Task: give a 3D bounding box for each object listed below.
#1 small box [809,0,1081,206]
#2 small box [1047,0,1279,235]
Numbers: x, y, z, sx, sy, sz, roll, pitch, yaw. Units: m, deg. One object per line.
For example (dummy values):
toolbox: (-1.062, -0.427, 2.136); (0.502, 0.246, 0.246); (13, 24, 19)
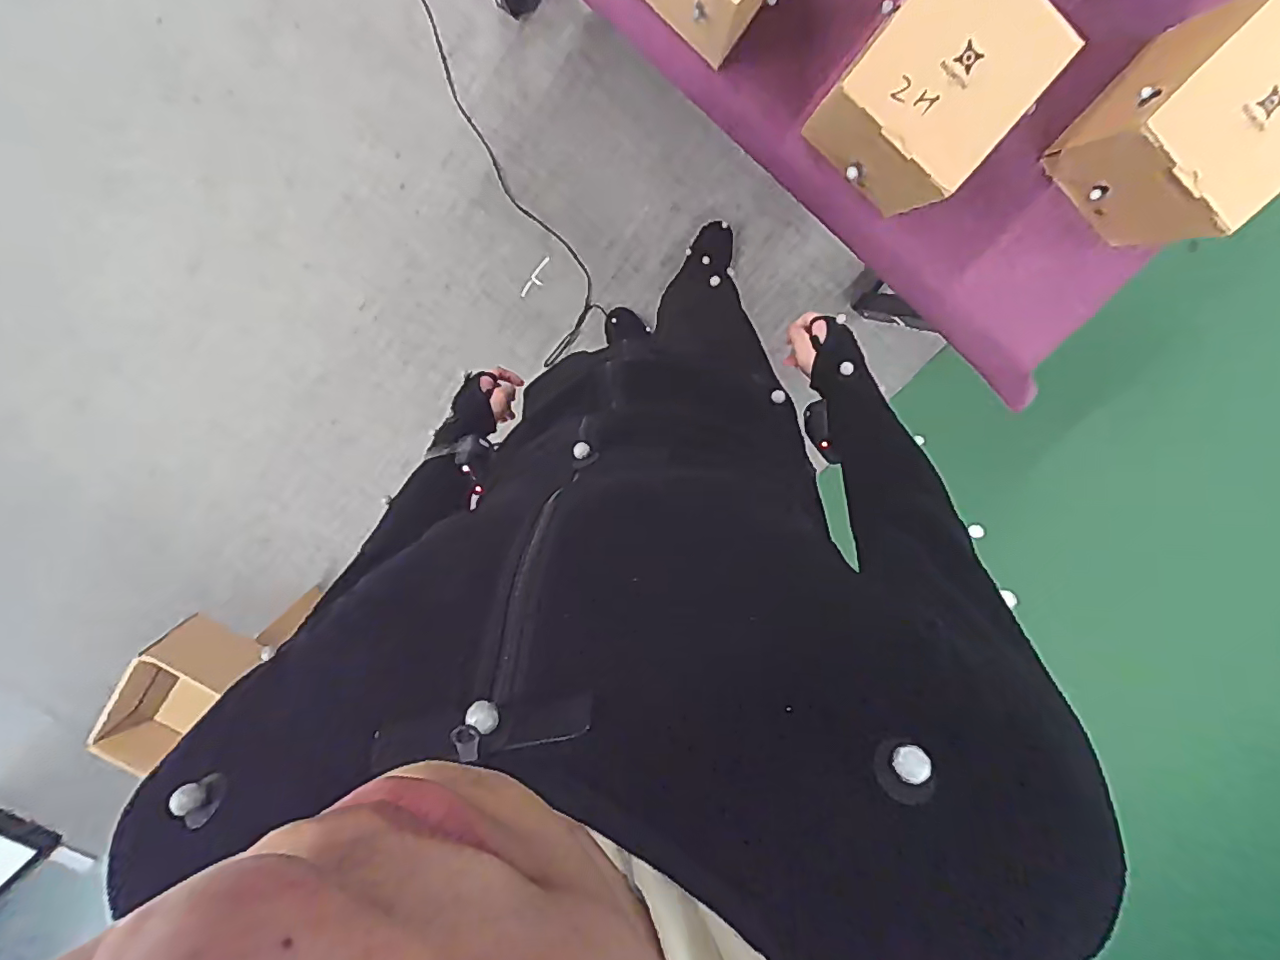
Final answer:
small box: (0.322, -0.447, 0.615); (0.168, 0.176, 0.179); (37, 107, -10)
small box: (0.633, -0.410, 0.619); (0.168, 0.176, 0.179); (38, 108, -11)
